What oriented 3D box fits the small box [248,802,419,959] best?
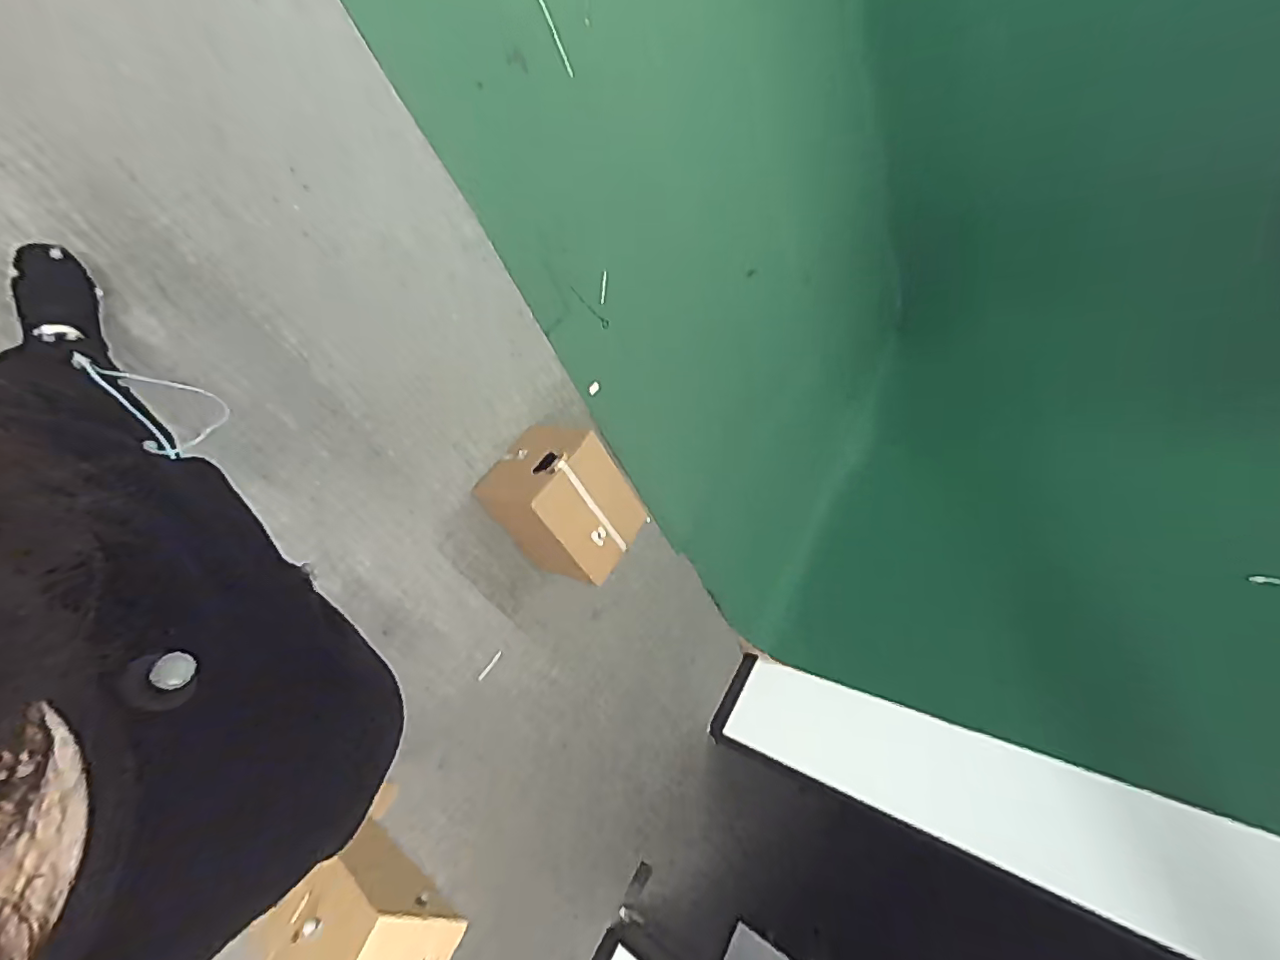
[{"bbox_3d":[-0.536,0.695,0.945,0.179,0.176,0.168,48,60,-39],"label":"small box"}]

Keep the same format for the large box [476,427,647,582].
[{"bbox_3d":[-0.248,0.071,1.774,0.320,0.320,0.408,-54,132,-28],"label":"large box"}]

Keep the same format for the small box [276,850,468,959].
[{"bbox_3d":[-0.412,0.710,0.837,0.179,0.176,0.168,48,60,-40],"label":"small box"}]
